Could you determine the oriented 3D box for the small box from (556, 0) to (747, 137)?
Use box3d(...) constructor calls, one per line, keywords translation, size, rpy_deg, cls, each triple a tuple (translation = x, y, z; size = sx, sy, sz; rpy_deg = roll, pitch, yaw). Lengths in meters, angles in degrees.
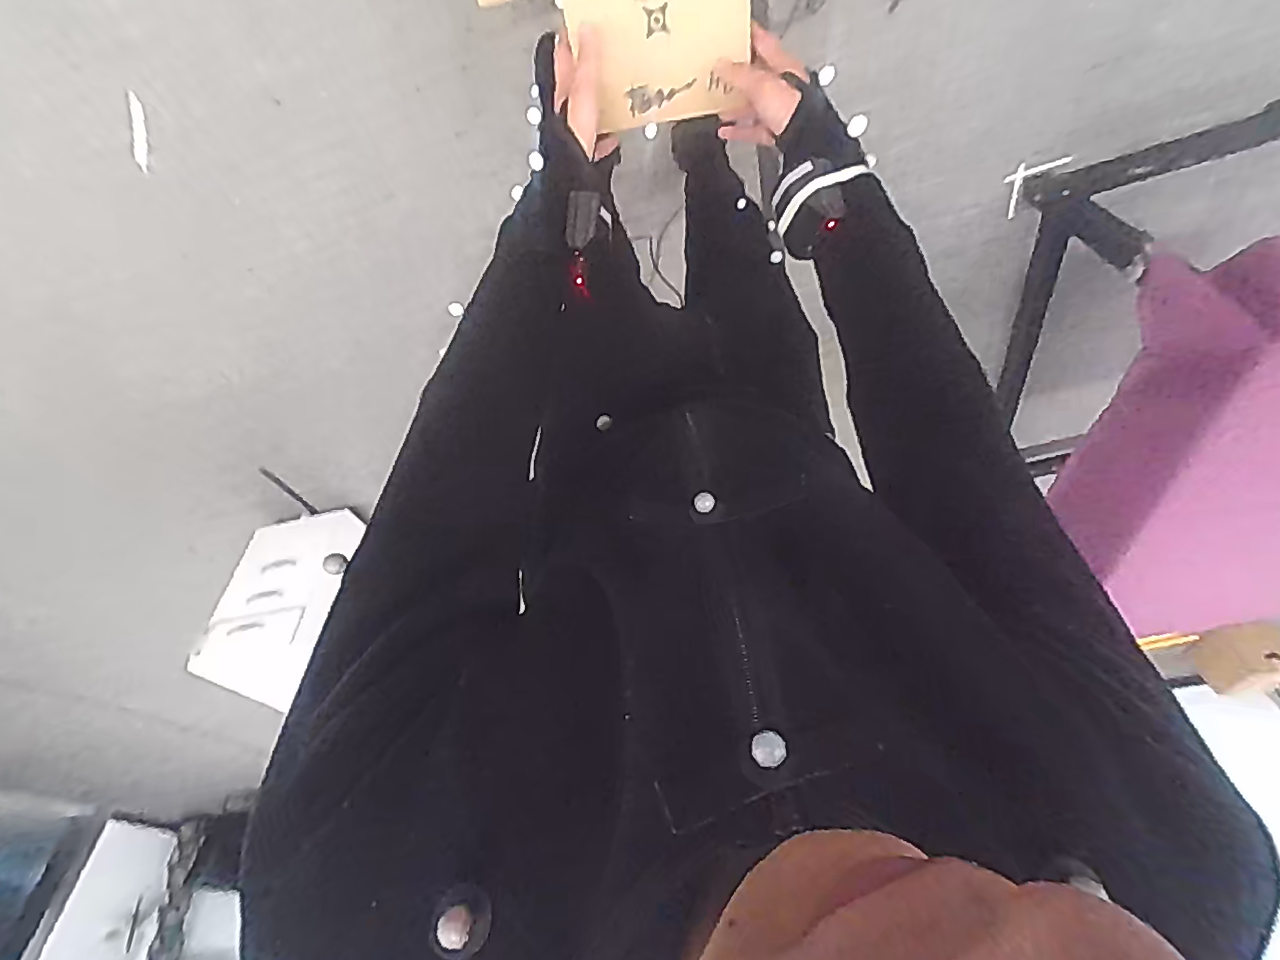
box3d(translation=(0.010, -0.464, 0.528), size=(0.168, 0.176, 0.179), rpy_deg=(-6, 133, 7), cls="small box")
